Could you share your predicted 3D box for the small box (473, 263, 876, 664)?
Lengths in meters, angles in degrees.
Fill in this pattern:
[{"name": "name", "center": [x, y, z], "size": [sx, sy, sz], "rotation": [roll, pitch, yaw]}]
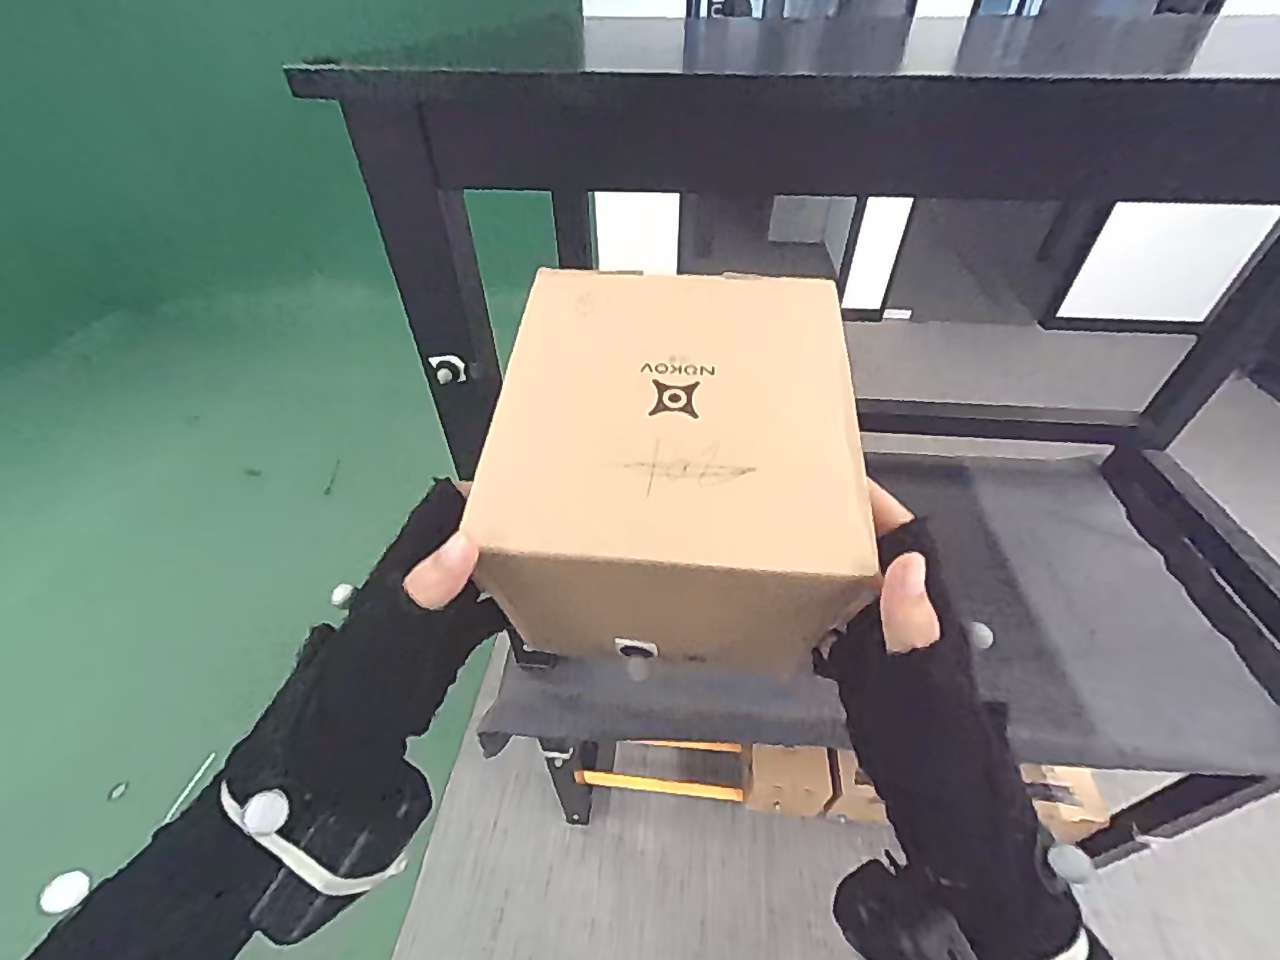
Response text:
[{"name": "small box", "center": [0.021, -0.004, 0.327], "size": [0.168, 0.176, 0.179], "rotation": [3, 58, 4]}]
